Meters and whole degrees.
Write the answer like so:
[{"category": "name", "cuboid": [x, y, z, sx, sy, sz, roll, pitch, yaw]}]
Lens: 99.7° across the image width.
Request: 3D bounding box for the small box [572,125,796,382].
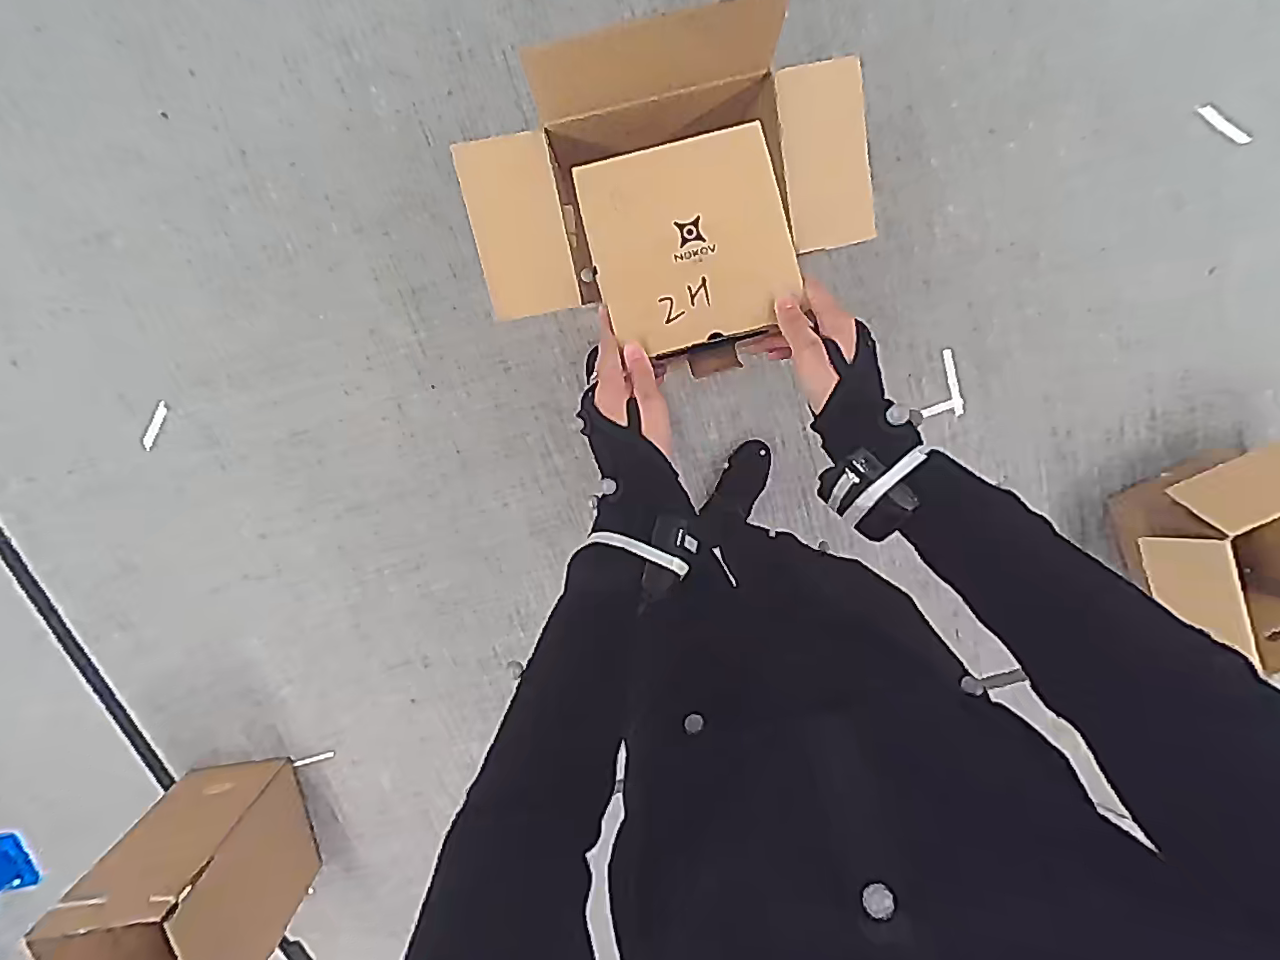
[{"category": "small box", "cuboid": [0.036, -0.207, 0.545, 0.168, 0.176, 0.179, -14, 96, 0]}]
